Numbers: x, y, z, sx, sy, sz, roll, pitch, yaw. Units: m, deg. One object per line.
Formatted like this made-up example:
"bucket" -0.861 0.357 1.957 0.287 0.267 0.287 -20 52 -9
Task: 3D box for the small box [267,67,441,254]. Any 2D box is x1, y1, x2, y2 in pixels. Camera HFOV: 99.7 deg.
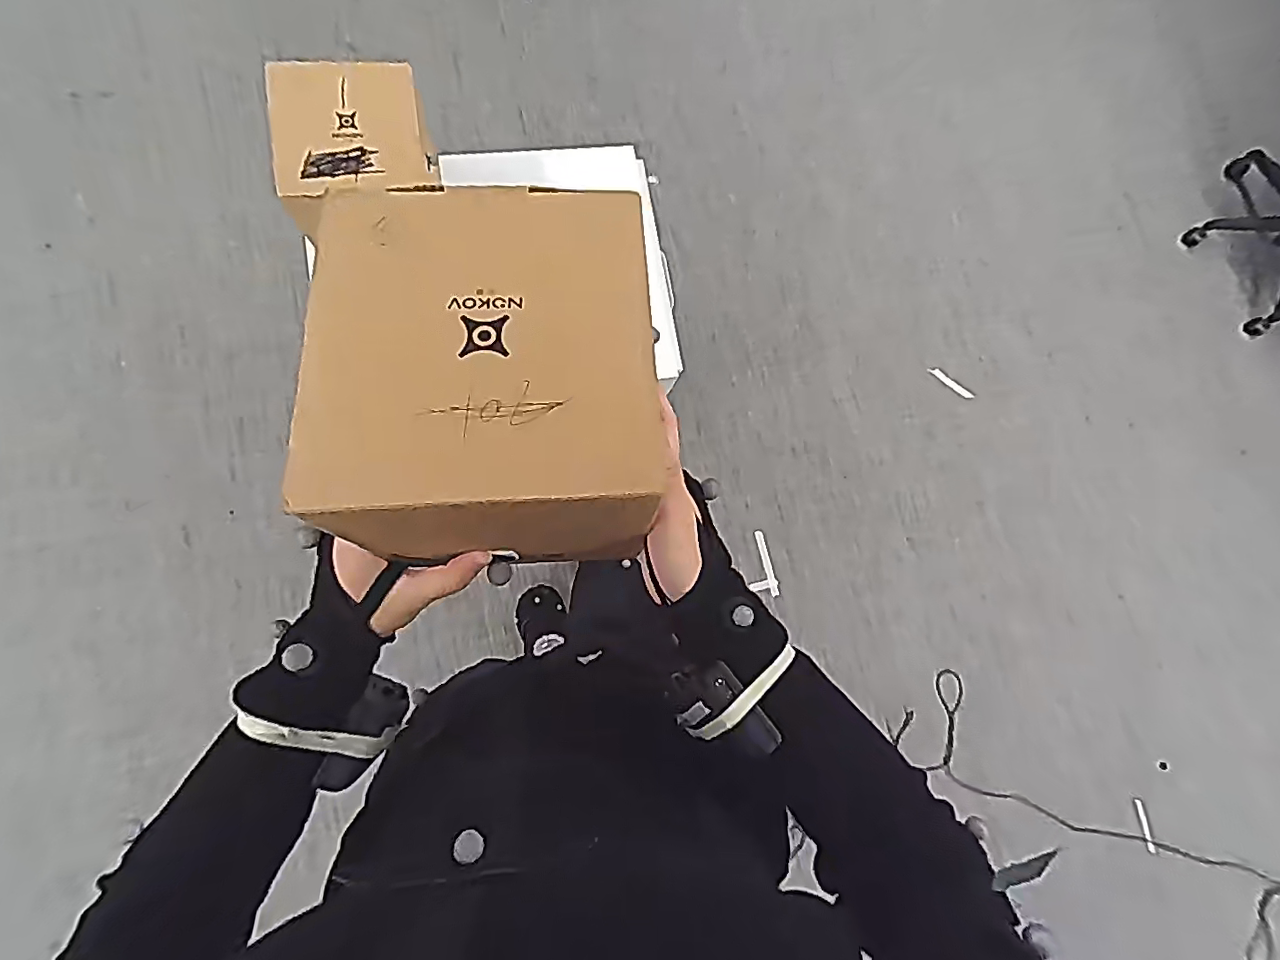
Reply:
"small box" -0.359 -0.398 0.716 0.168 0.176 0.179 -8 83 -11

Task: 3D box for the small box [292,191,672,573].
"small box" -0.079 -0.046 0.337 0.168 0.176 0.179 -4 72 -5
